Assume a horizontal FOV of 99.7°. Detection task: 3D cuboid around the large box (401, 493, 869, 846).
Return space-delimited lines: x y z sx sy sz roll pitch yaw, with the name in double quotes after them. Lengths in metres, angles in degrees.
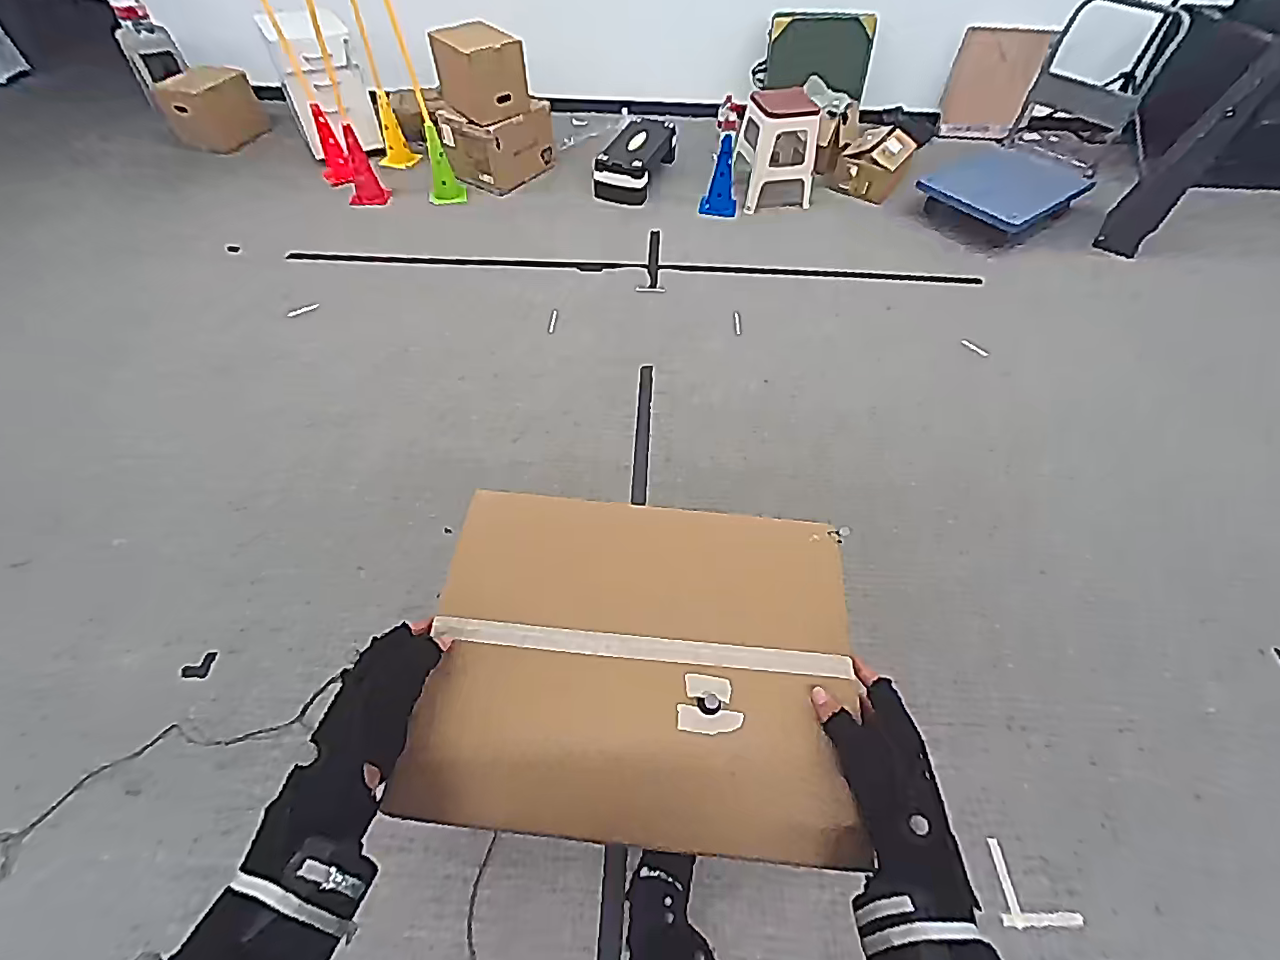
0.000 0.239 0.655 0.408 0.320 0.320 6 58 1 "large box"
